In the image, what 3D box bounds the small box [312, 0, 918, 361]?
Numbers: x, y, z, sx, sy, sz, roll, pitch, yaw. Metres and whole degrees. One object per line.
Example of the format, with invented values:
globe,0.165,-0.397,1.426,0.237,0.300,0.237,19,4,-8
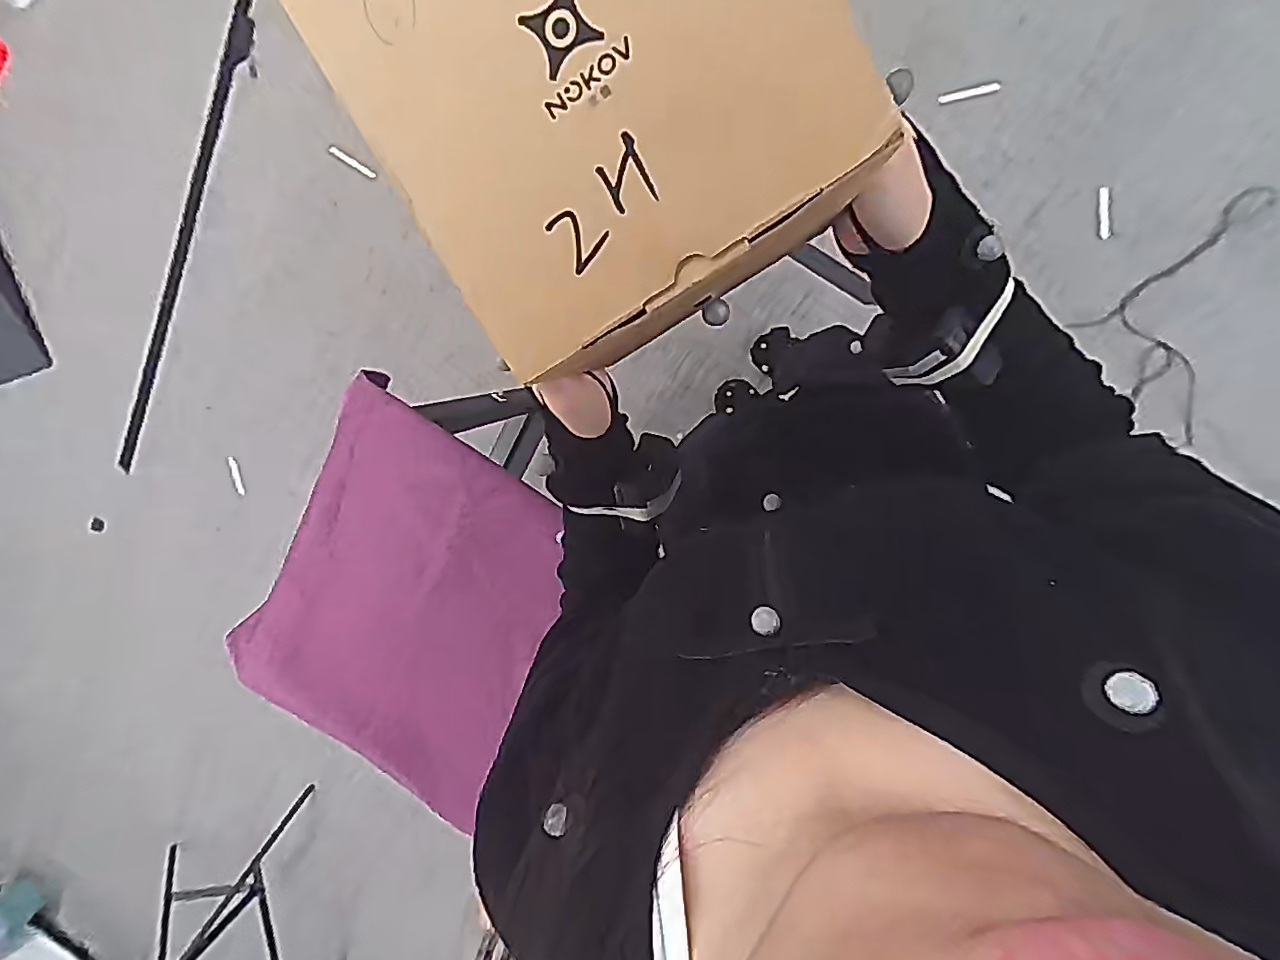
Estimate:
small box,-0.006,-0.175,0.263,0.168,0.176,0.179,-28,99,15
